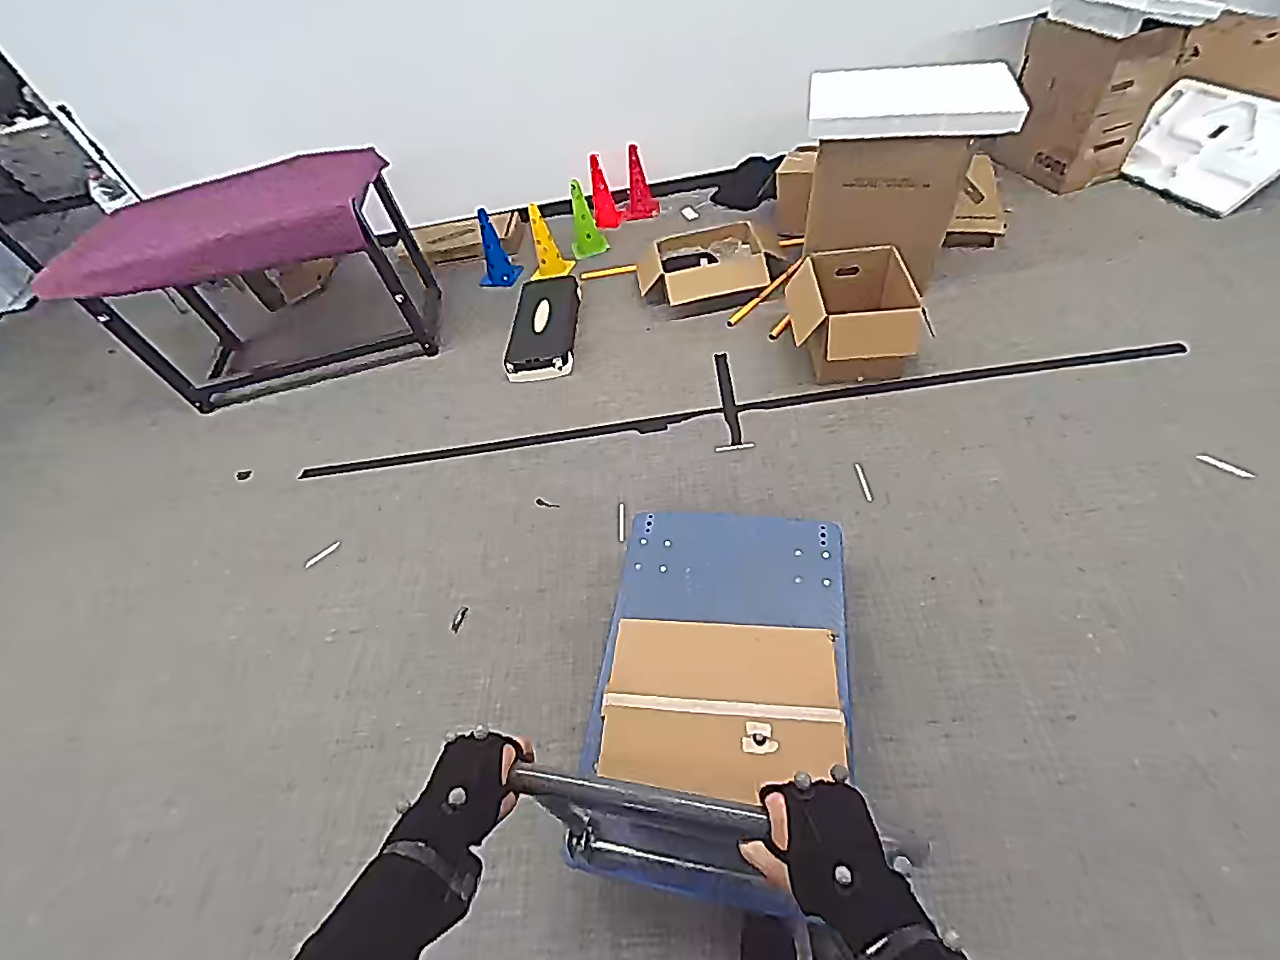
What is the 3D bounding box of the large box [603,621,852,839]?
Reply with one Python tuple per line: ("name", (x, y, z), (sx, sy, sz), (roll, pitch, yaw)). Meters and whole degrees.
("large box", (0.165, 0.494, 1.068), (0.408, 0.320, 0.320), (0, 52, 10))
